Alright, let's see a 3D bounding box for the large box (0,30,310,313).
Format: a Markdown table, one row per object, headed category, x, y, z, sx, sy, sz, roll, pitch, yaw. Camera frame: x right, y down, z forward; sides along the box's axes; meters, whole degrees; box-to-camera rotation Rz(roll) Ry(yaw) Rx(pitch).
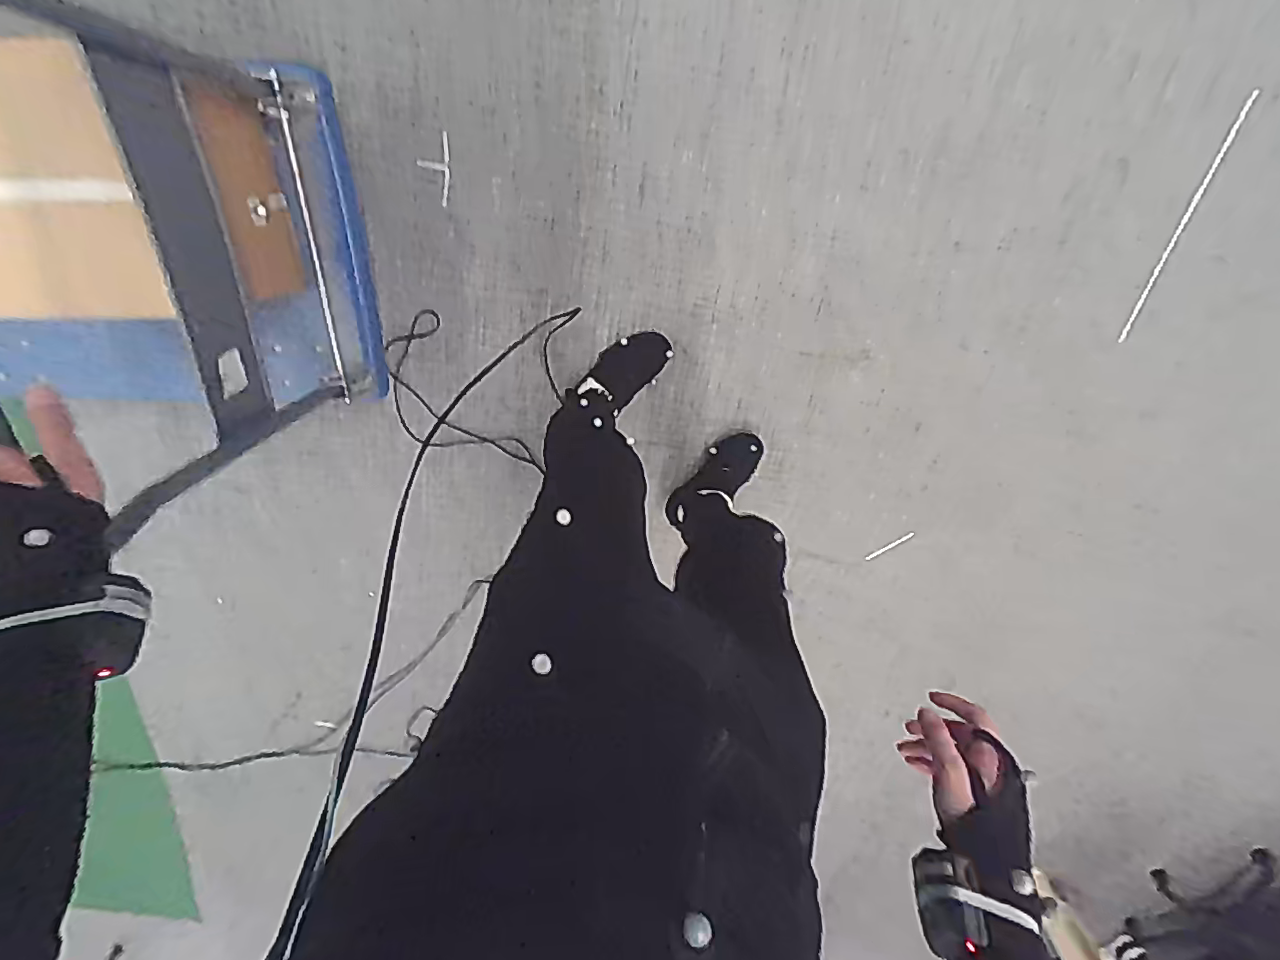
| category | x | y | z | sx | sy | sz | roll | pitch | yaw |
| --- | --- | --- | --- | --- | --- | --- | --- | --- | --- |
| large box | -0.815 | -0.440 | 0.817 | 0.408 | 0.320 | 0.320 | 0 | 117 | 1 |
